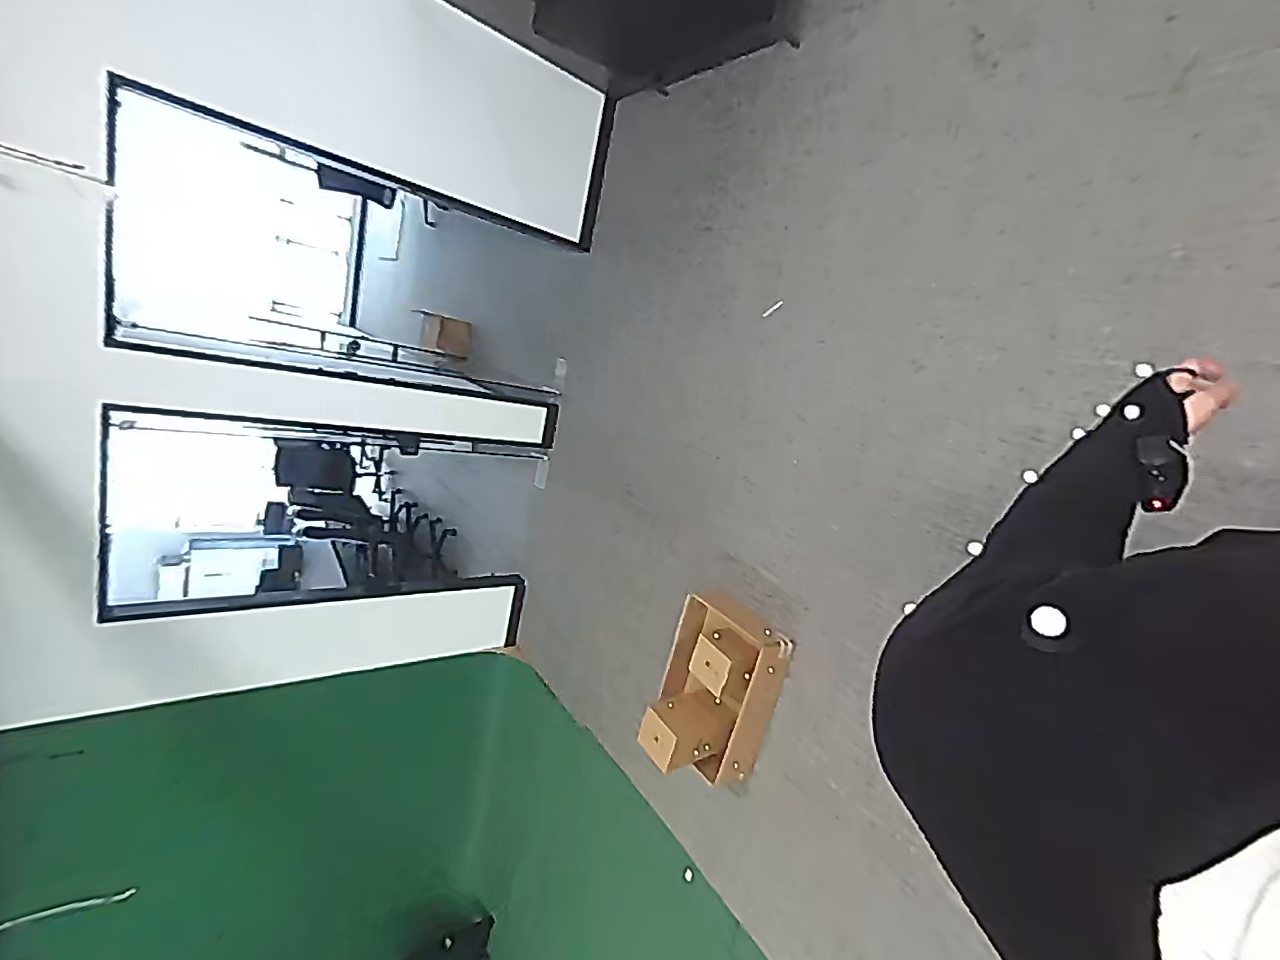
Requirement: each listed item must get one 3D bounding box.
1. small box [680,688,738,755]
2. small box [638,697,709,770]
[{"bbox_3d":[0.251,0.936,2.113,0.179,0.176,0.168,33,113,48],"label":"small box"},{"bbox_3d":[0.126,0.931,2.009,0.179,0.176,0.168,32,112,47],"label":"small box"}]
